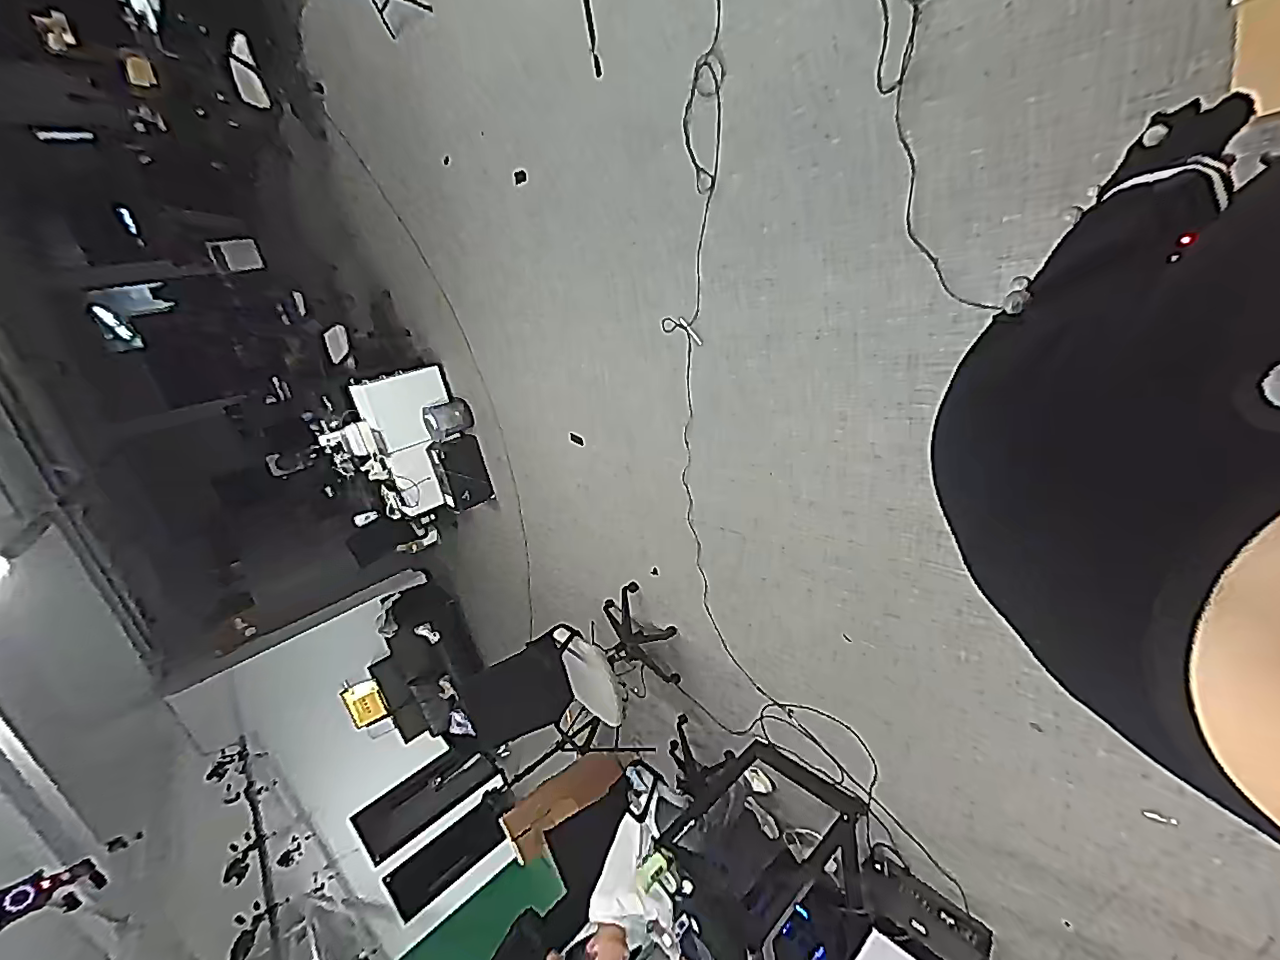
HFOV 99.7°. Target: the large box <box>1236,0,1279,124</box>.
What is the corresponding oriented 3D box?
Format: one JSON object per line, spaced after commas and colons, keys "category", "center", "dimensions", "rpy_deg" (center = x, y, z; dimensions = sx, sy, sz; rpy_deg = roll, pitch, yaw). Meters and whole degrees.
{"category": "large box", "center": [1.020, -0.674, 0.636], "dimensions": [0.408, 0.320, 0.320], "rpy_deg": [8, 118, 50]}
